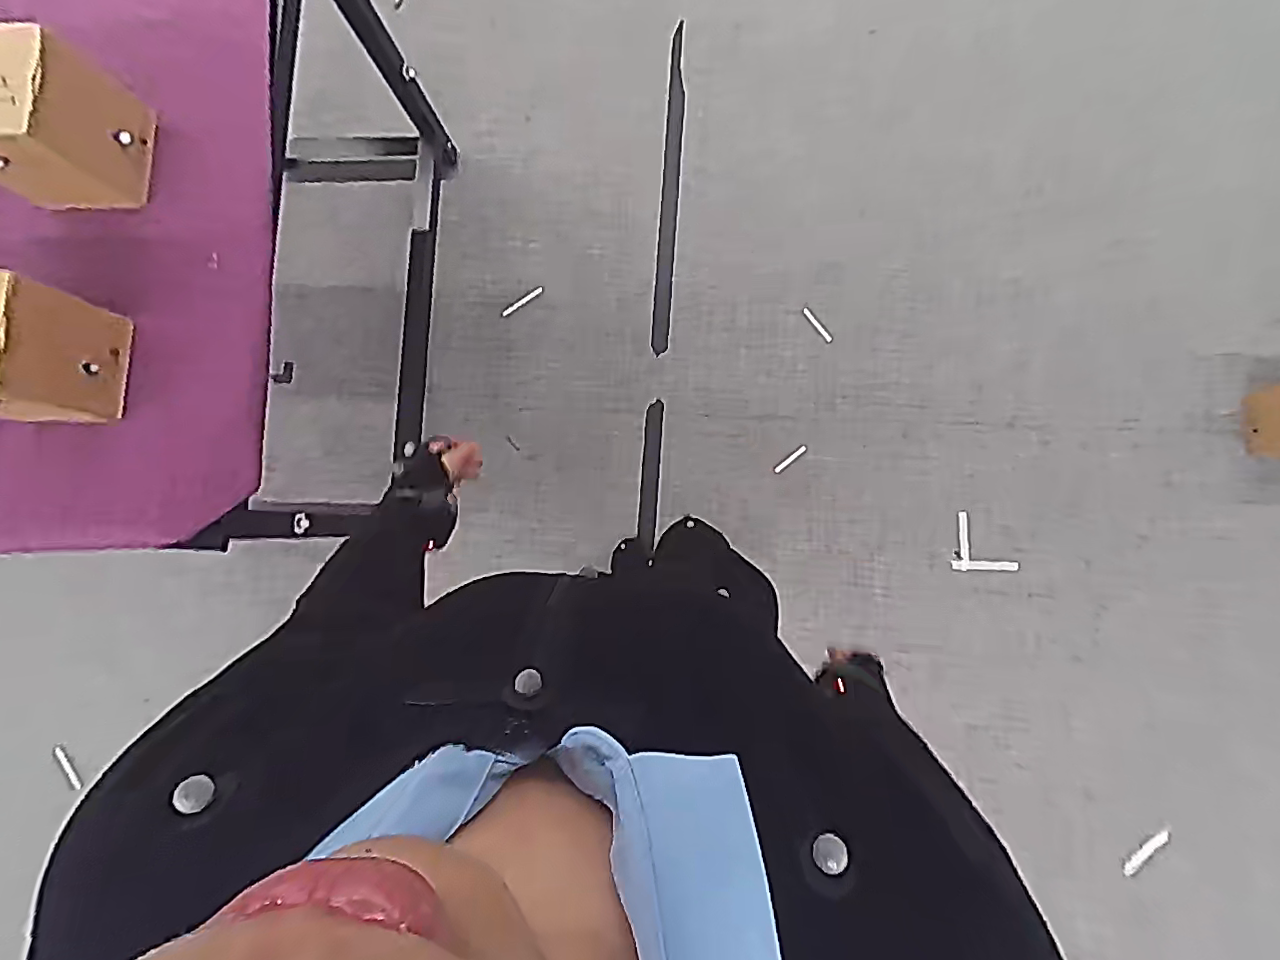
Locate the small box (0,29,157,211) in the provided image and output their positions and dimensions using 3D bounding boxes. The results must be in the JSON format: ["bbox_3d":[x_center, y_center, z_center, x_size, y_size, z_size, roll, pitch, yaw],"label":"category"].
[{"bbox_3d":[-0.897,-0.530,0.816,0.179,0.176,0.168,1,85,3],"label":"small box"}]

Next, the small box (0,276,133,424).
[{"bbox_3d":[-0.905,-0.178,0.781,0.179,0.176,0.168,0,83,2],"label":"small box"}]
